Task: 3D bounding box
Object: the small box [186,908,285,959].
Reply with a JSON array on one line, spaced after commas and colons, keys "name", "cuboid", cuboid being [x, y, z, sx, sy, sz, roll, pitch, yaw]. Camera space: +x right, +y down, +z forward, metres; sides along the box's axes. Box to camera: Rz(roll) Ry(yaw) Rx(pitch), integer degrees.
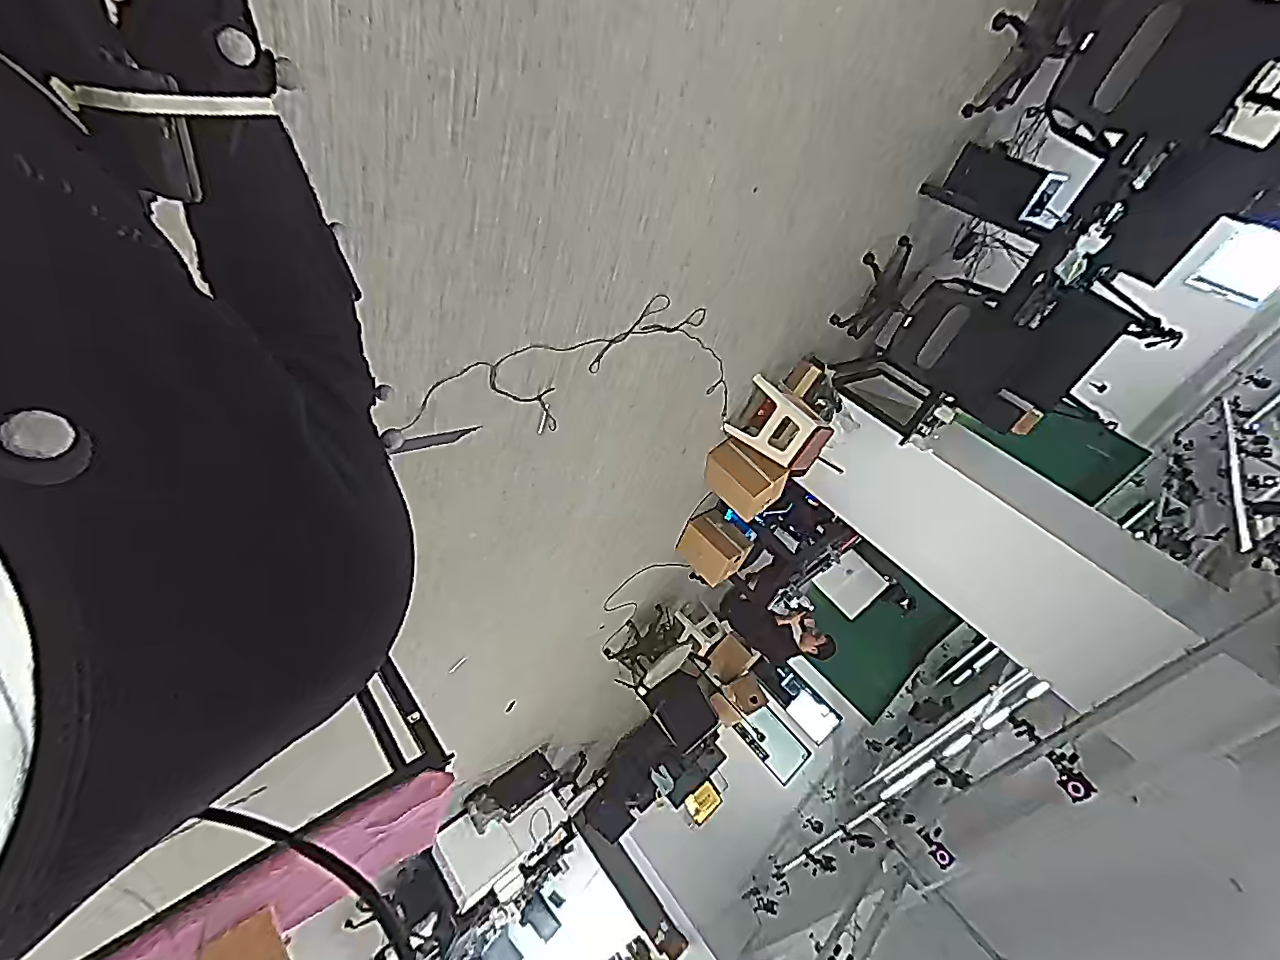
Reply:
[{"name": "small box", "cuboid": [-1.059, 1.288, 1.427, 0.179, 0.176, 0.168, -19, 143, -42]}]
